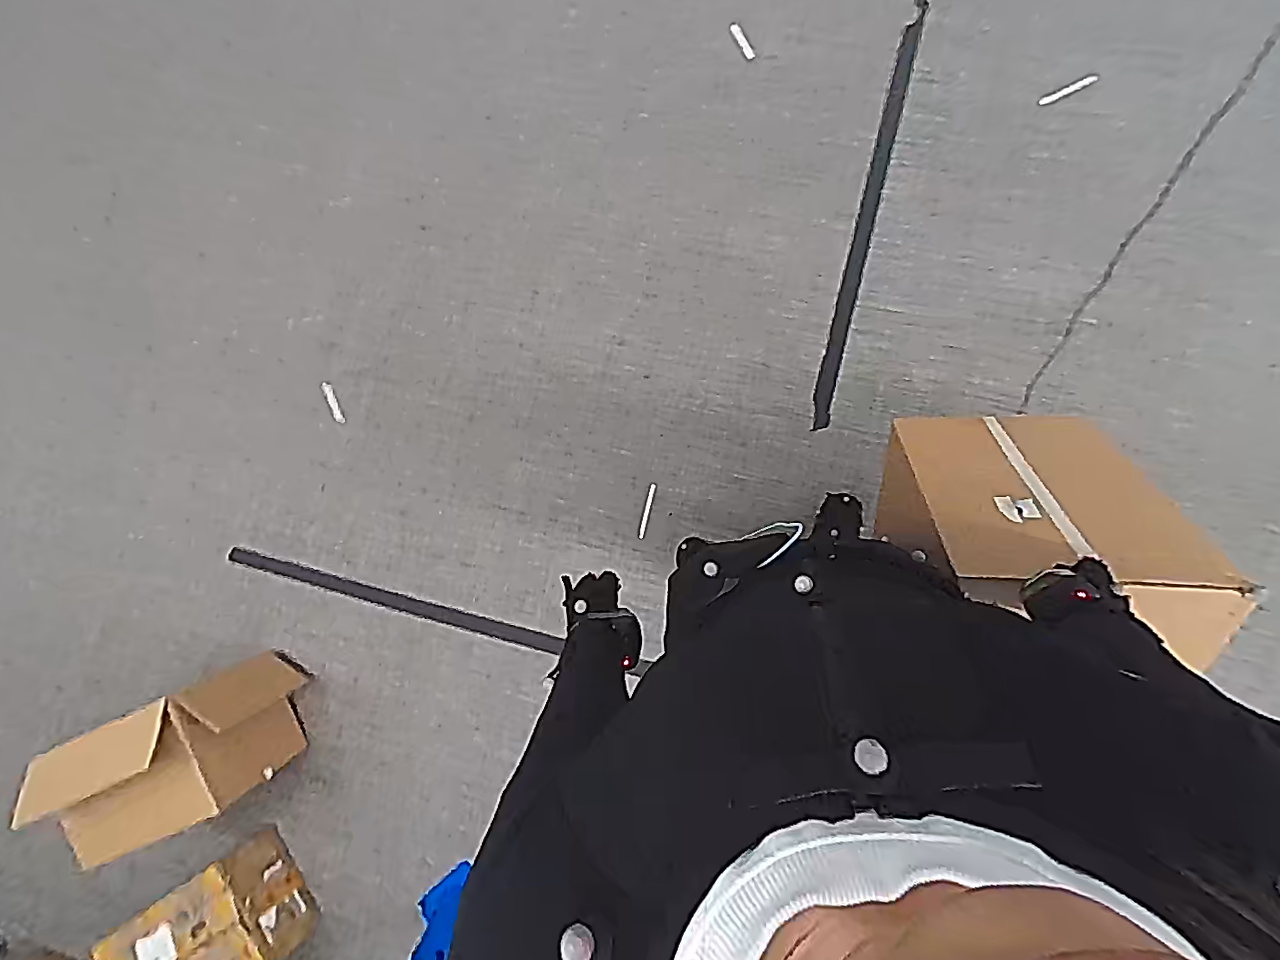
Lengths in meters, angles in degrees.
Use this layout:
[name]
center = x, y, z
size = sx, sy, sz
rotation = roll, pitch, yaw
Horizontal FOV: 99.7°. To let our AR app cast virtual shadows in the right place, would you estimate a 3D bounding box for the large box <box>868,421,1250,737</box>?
[large box]
center = 0.589, 0.137, 0.884
size = 0.320, 0.408, 0.320
rotation = 0, 126, 11
